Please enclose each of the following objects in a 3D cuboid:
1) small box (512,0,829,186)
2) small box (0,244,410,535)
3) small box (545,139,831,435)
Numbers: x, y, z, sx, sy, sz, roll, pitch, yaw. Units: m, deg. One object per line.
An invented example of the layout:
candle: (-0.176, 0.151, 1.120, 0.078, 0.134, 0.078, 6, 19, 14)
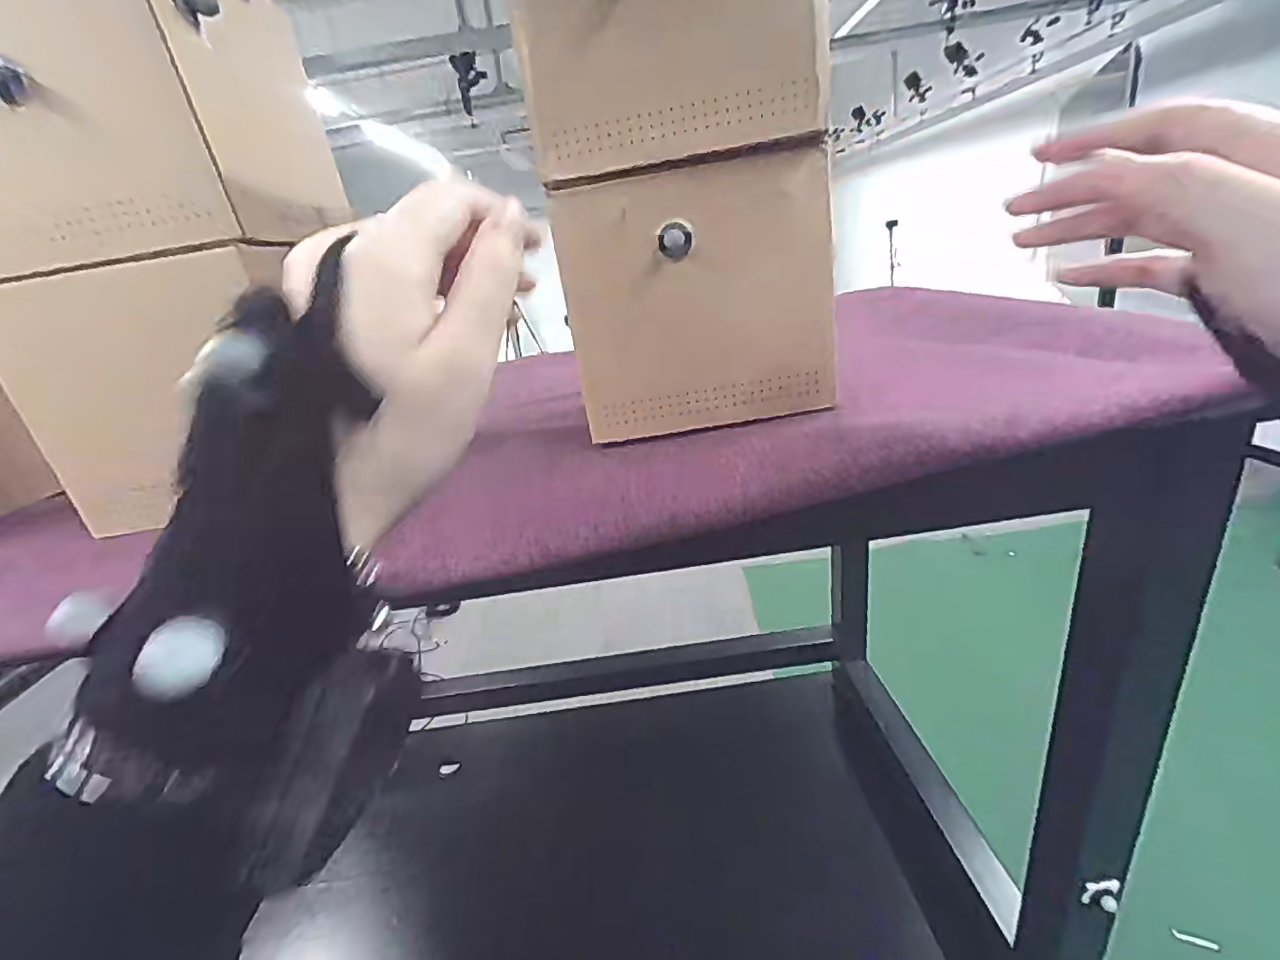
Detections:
small box: (0.017, -0.291, 0.366, 0.179, 0.176, 0.168, -8, 20, 6)
small box: (-0.304, -0.076, 0.414, 0.179, 0.176, 0.168, -10, 22, 0)
small box: (0.039, -0.140, 0.427, 0.179, 0.176, 0.168, -8, 20, 3)
